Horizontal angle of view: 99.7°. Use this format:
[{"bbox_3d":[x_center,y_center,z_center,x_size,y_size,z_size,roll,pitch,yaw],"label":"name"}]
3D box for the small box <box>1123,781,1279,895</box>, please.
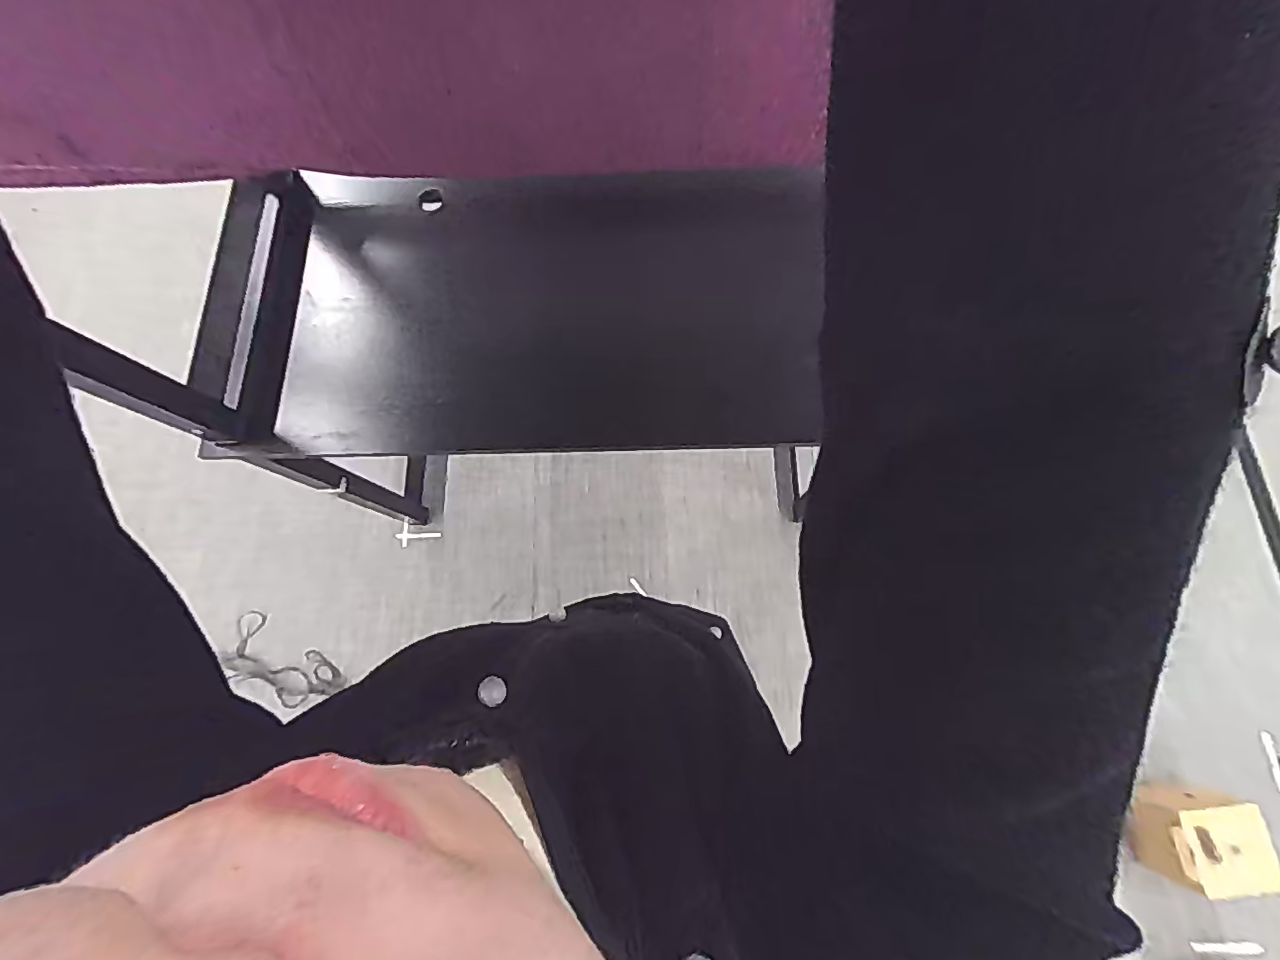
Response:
[{"bbox_3d":[1.258,0.804,1.229,0.179,0.176,0.168,-7,75,1],"label":"small box"}]
